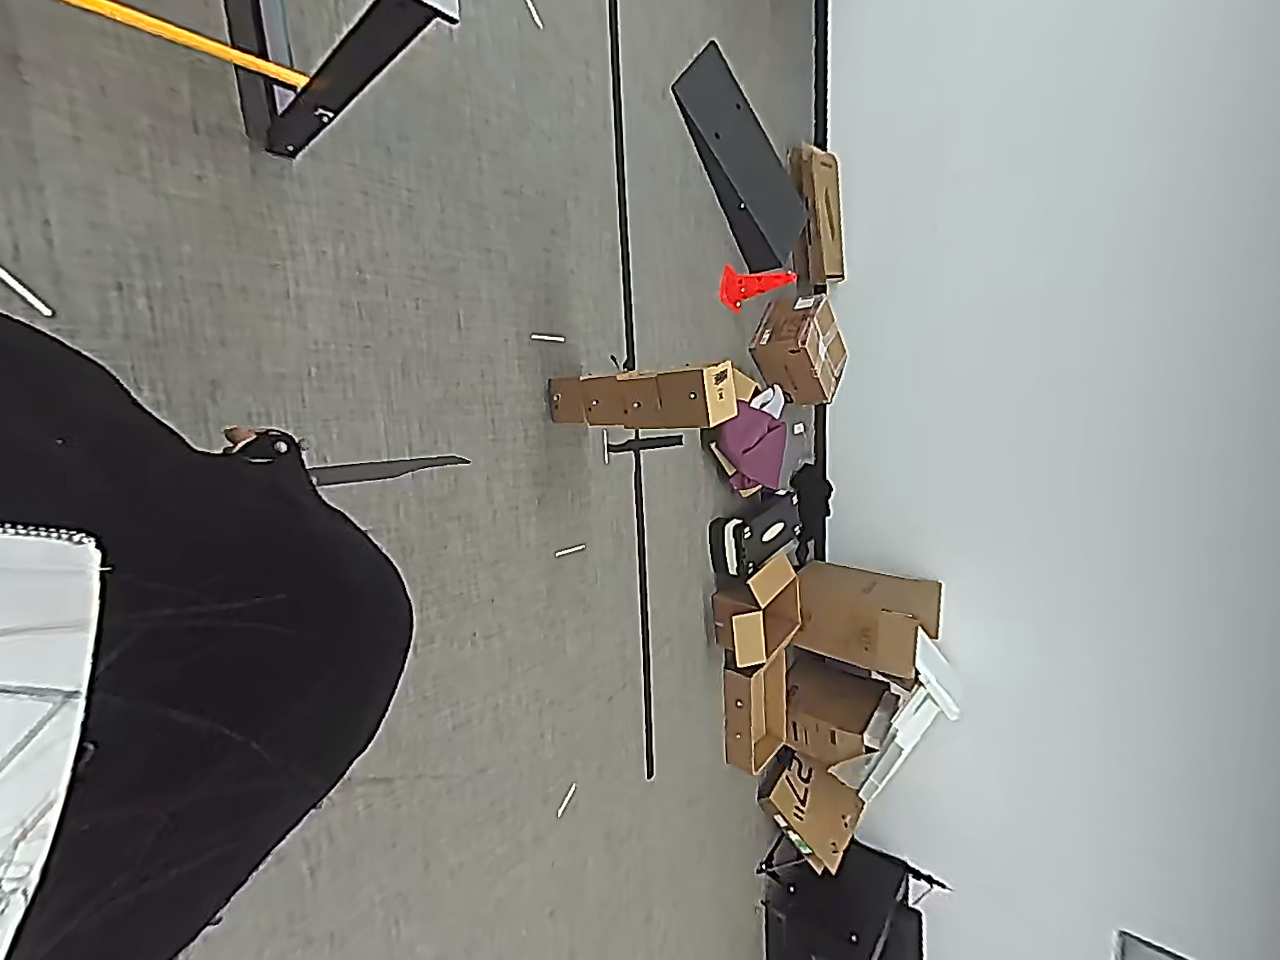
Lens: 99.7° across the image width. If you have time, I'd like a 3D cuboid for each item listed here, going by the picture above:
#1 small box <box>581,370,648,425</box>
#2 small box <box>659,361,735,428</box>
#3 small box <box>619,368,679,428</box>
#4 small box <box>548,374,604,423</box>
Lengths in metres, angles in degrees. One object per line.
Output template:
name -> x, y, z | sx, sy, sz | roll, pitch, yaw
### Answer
small box -> -0.078, -0.288, 1.883 | 0.179, 0.176, 0.168 | -23, 109, -46
small box -> 0.174, -0.263, 1.672 | 0.168, 0.176, 0.179 | -27, 113, -46
small box -> 0.045, -0.267, 1.777 | 0.179, 0.176, 0.168 | -26, 112, -46
small box -> -0.212, -0.298, 1.979 | 0.179, 0.176, 0.168 | -16, 105, -47
